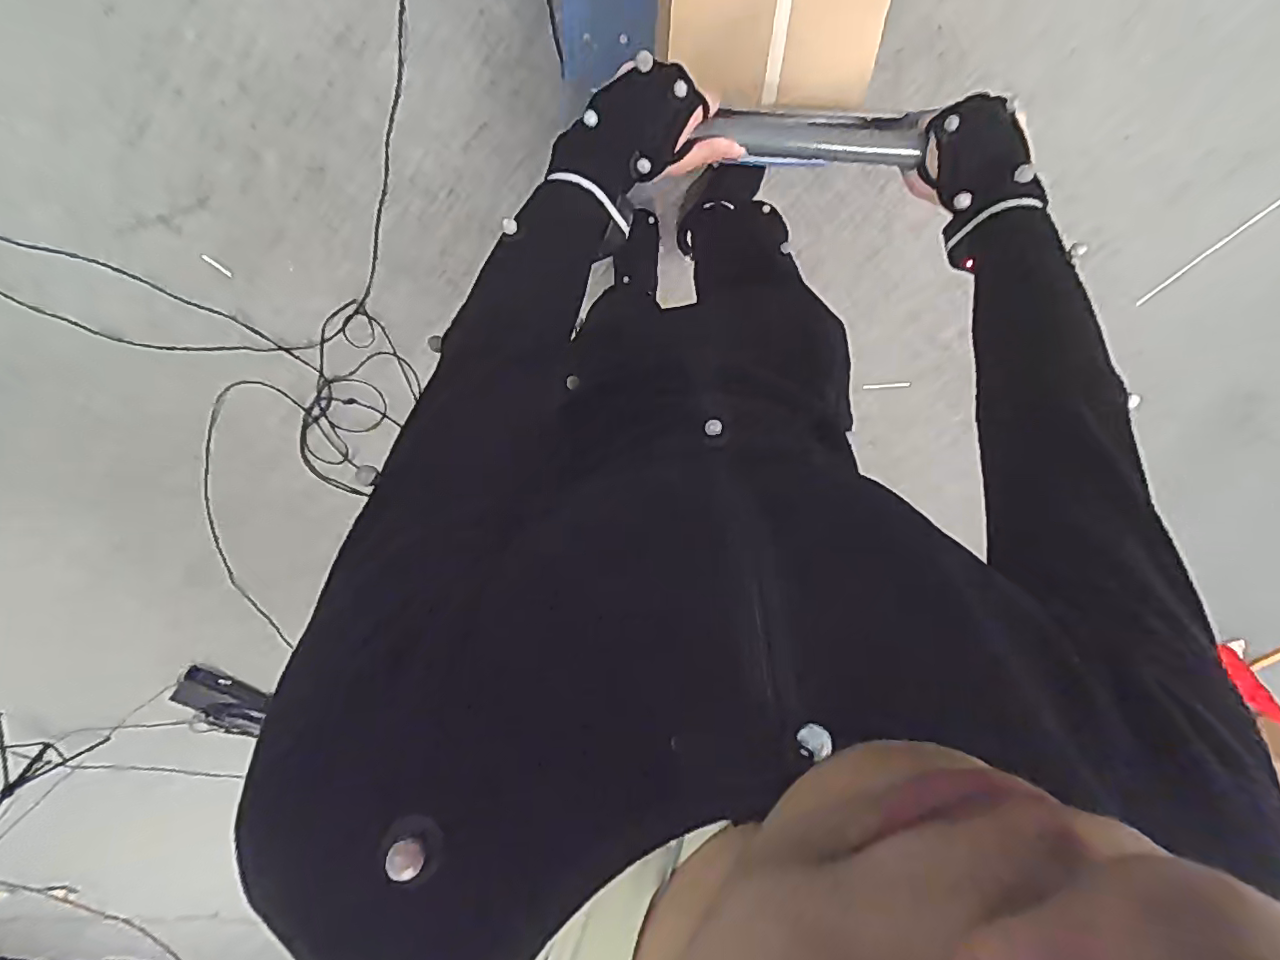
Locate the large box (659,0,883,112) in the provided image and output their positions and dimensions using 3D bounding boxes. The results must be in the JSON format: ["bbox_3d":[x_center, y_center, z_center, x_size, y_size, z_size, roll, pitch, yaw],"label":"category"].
[{"bbox_3d":[0.198,-0.833,0.861,0.320,0.320,0.408,1,125,-4],"label":"large box"}]
